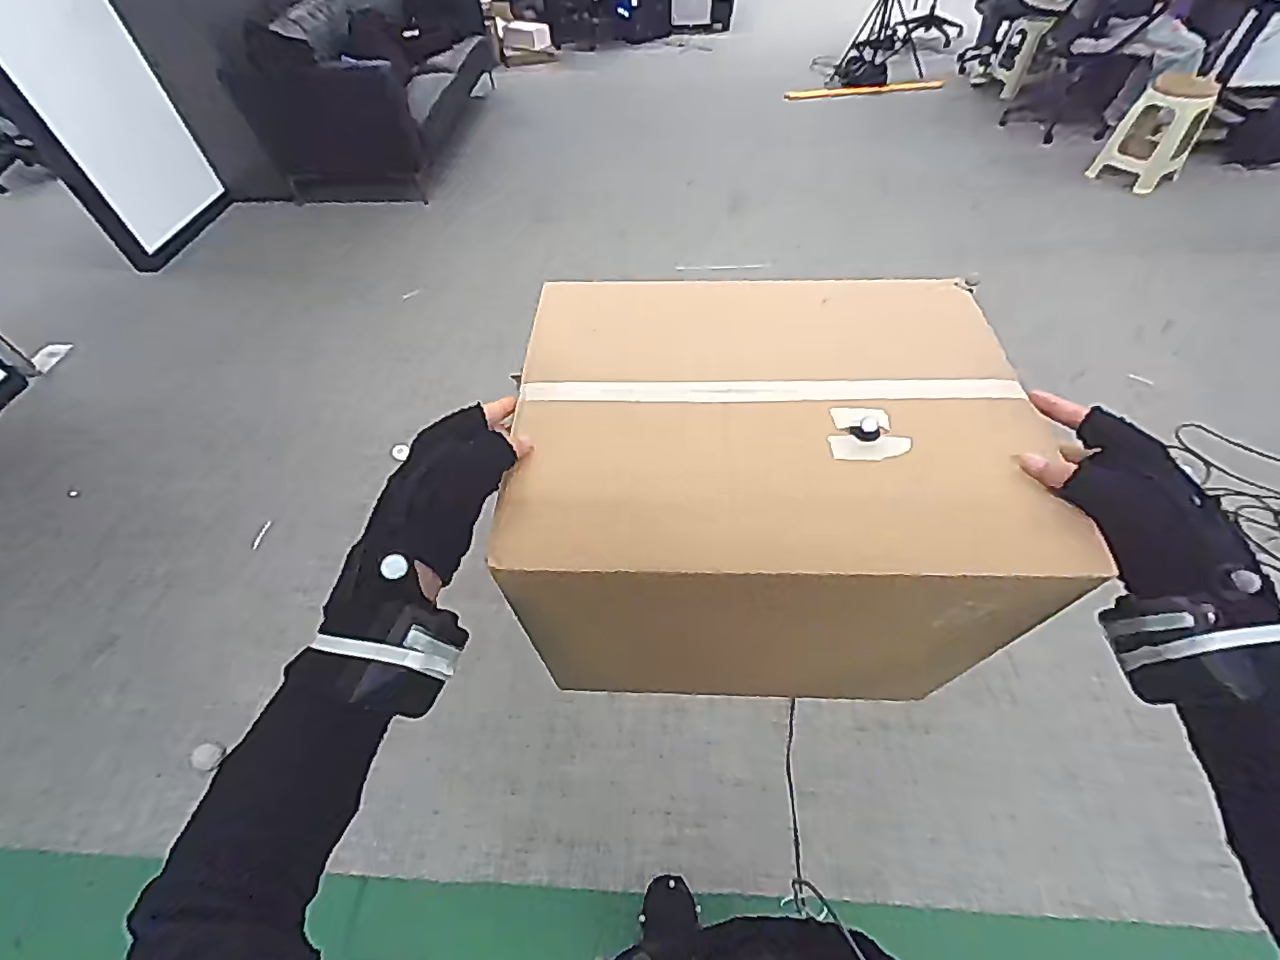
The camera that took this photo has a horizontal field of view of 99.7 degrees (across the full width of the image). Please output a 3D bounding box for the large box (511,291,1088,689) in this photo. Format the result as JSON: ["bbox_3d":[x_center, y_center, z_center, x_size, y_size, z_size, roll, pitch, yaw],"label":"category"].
[{"bbox_3d":[0.109,0.023,0.574,0.408,0.320,0.320,0,55,1],"label":"large box"}]
